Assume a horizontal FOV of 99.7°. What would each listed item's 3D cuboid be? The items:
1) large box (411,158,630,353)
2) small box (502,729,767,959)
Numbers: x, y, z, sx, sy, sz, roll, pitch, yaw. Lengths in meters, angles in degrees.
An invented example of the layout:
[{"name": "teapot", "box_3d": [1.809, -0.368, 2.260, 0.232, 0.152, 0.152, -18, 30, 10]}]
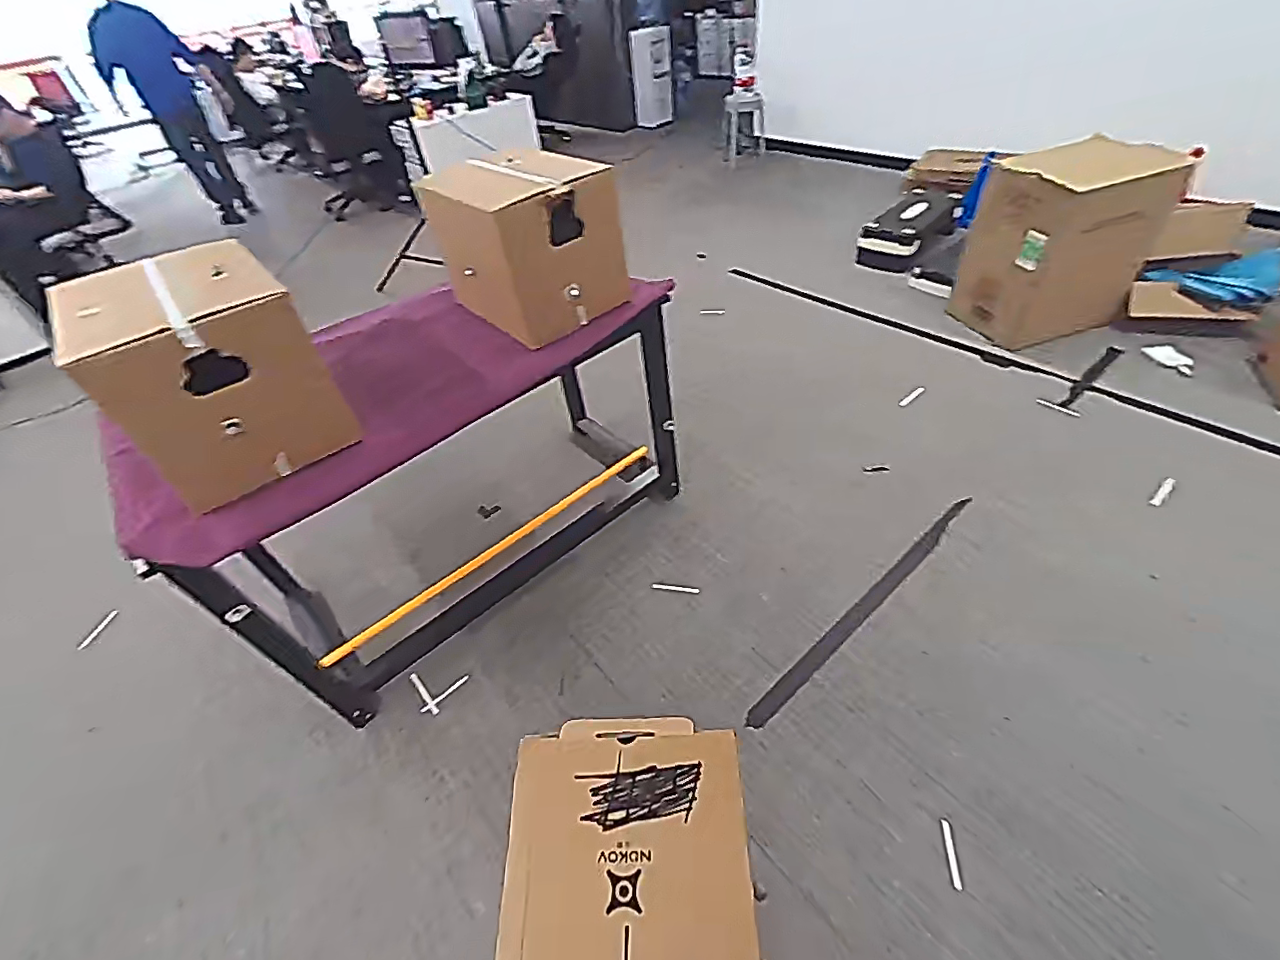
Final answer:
[{"name": "large box", "box_3d": [-0.282, -0.562, 1.331, 0.320, 0.320, 0.408, -35, 49, -25]}, {"name": "small box", "box_3d": [0.002, 0.308, 0.421, 0.168, 0.176, 0.179, -3, 52, 4]}]
